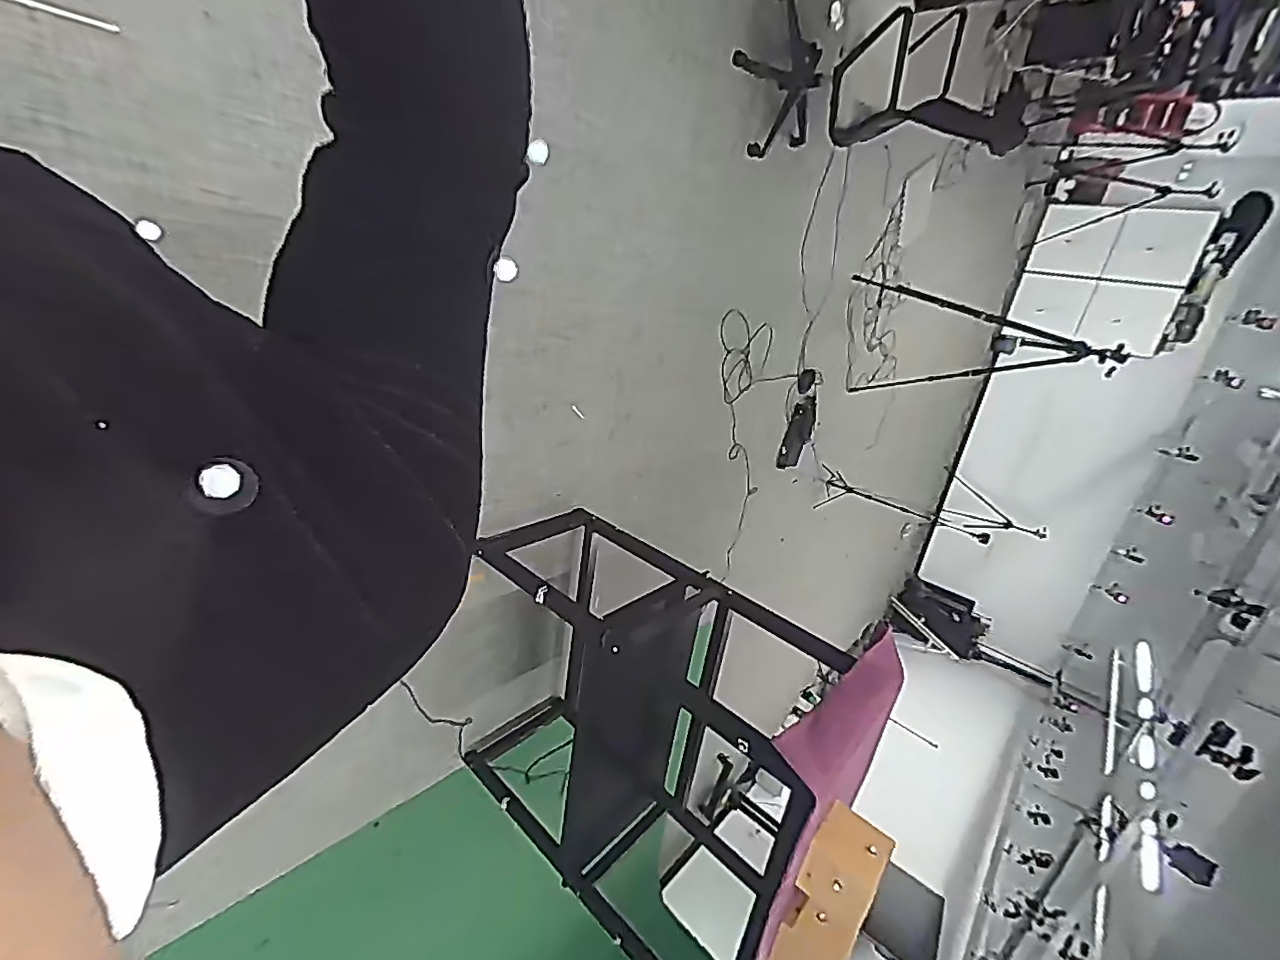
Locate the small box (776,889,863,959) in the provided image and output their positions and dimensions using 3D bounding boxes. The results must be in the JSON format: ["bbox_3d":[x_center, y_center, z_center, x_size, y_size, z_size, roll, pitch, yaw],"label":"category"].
[{"bbox_3d":[0.493,1.271,1.486,0.168,0.176,0.179,-15,120,-47],"label":"small box"}]

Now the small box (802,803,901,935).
[{"bbox_3d":[0.537,0.984,1.383,0.179,0.176,0.168,-16,121,-48],"label":"small box"}]
